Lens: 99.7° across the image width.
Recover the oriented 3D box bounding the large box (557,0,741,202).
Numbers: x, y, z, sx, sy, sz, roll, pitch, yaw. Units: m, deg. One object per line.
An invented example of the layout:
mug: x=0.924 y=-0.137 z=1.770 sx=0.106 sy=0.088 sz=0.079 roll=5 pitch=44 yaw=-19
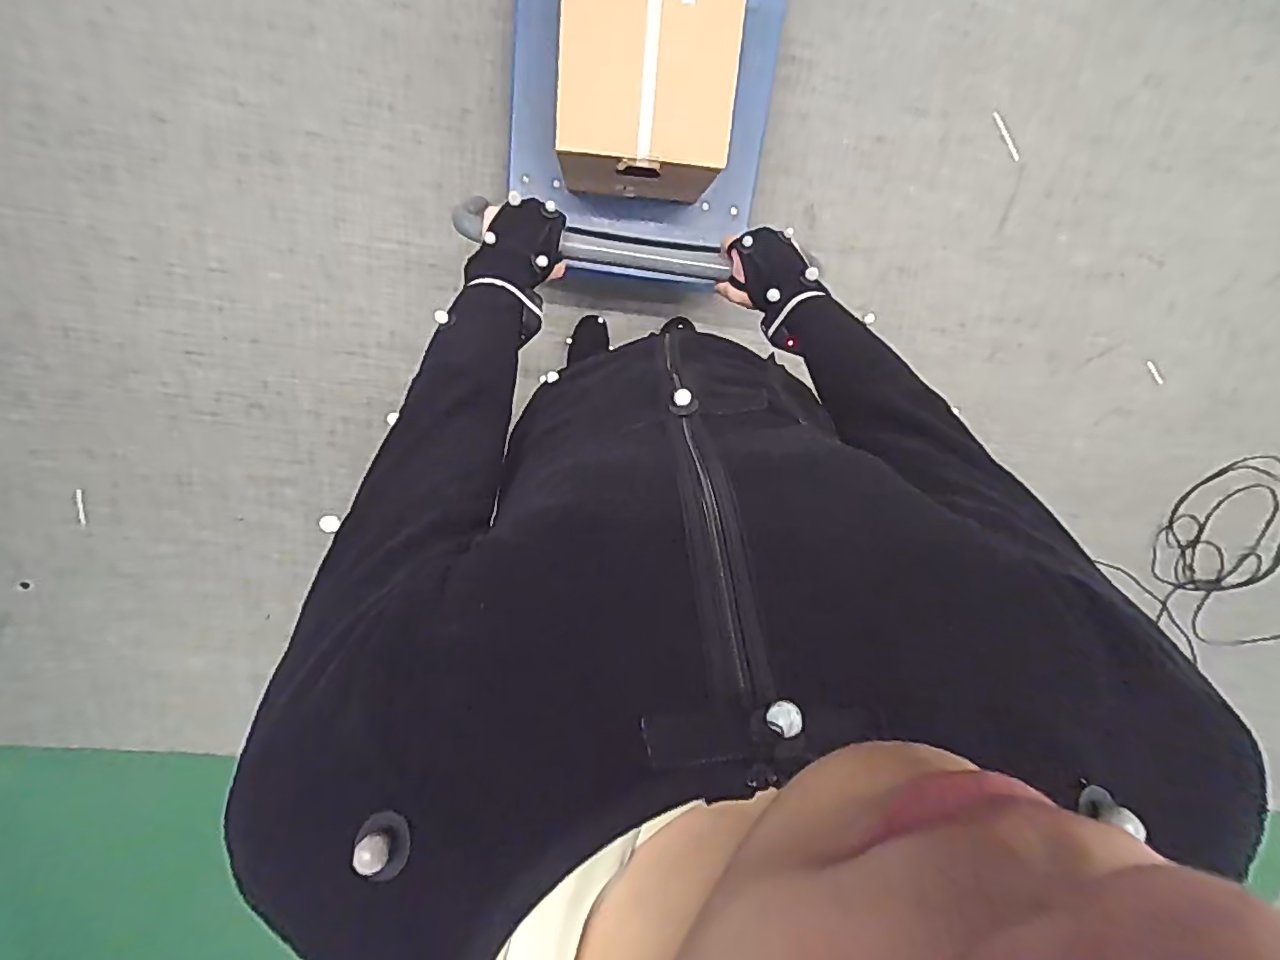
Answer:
large box: x=0.009 y=-0.809 z=1.075 sx=0.320 sy=0.320 sz=0.408 roll=3 pitch=107 yaw=-5
